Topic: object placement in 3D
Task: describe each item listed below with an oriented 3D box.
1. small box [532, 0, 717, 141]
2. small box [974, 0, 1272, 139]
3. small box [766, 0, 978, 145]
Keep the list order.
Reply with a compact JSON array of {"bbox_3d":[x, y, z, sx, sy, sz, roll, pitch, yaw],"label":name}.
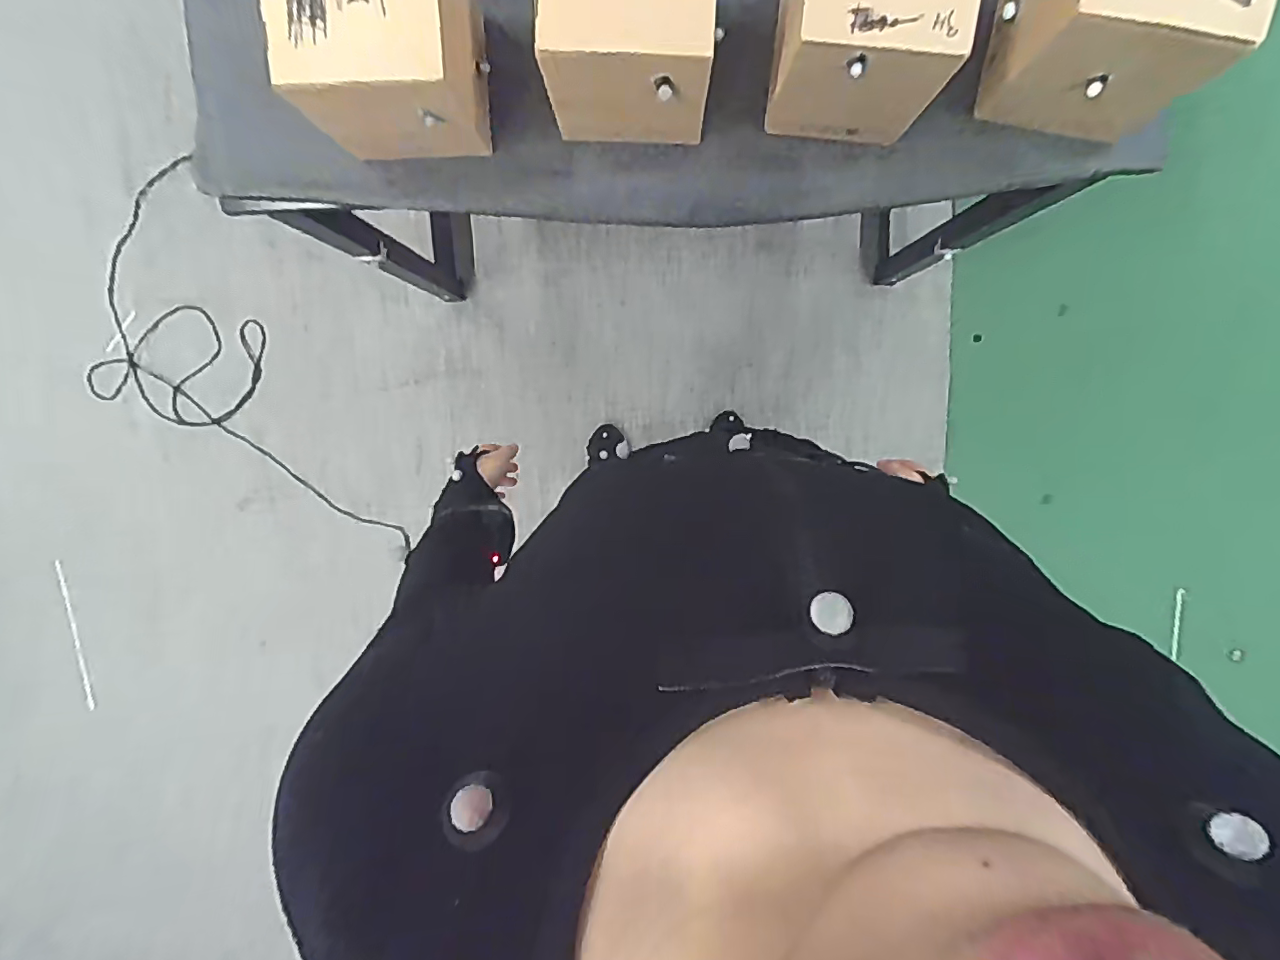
[{"bbox_3d":[-0.010,-0.498,0.589,0.179,0.176,0.168,3,96,2],"label":"small box"},{"bbox_3d":[0.502,-0.497,0.571,0.179,0.176,0.168,12,94,2],"label":"small box"},{"bbox_3d":[0.241,-0.502,0.582,0.168,0.176,0.179,7,96,1],"label":"small box"}]
